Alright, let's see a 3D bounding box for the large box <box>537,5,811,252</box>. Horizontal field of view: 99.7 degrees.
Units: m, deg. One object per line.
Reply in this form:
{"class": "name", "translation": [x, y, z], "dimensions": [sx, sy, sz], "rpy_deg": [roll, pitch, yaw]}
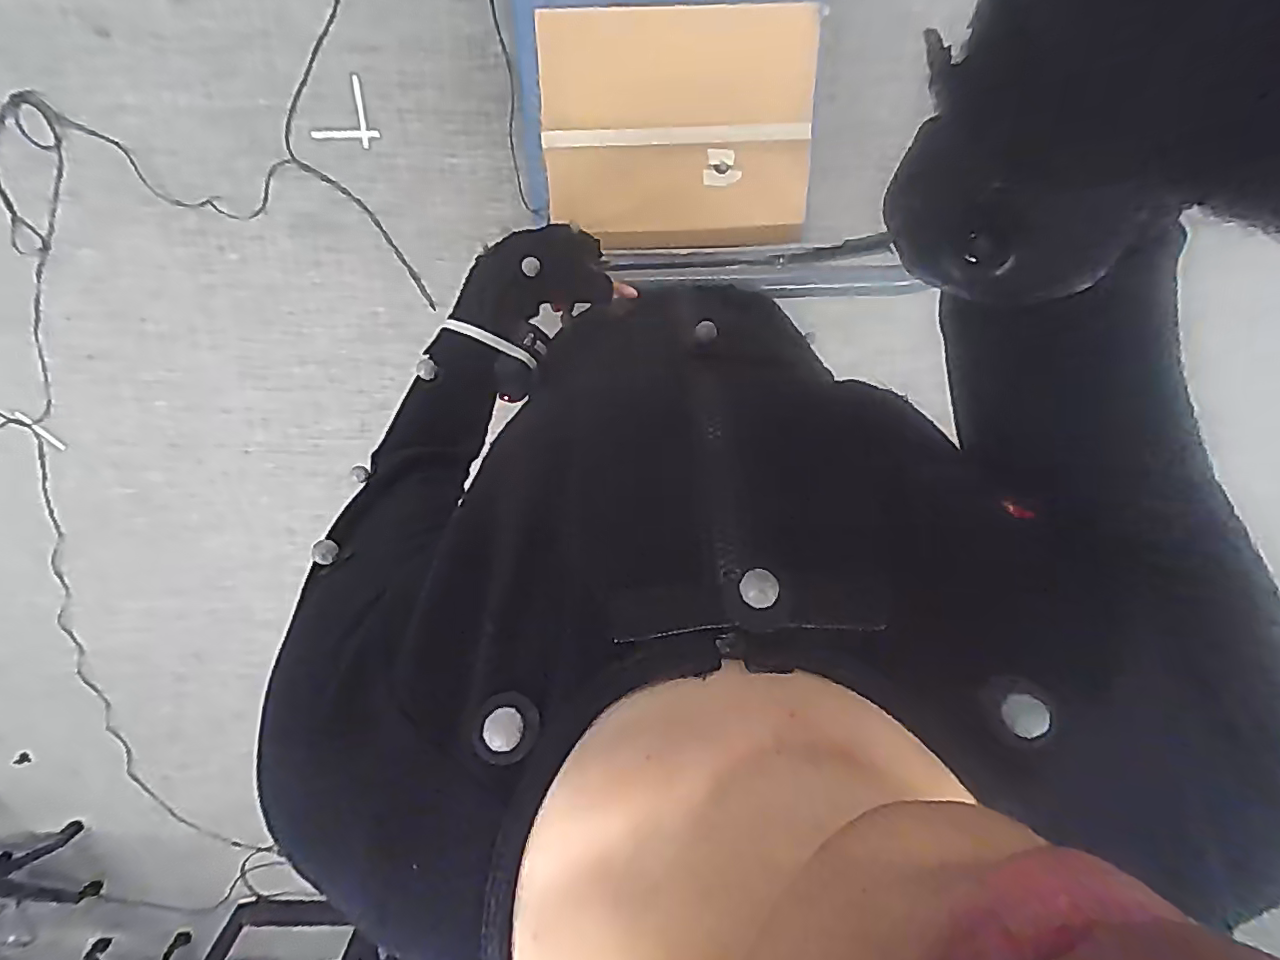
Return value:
{"class": "large box", "translation": [0.050, -0.588, 0.970], "dimensions": [0.408, 0.320, 0.320], "rpy_deg": [-2, 113, -1]}
